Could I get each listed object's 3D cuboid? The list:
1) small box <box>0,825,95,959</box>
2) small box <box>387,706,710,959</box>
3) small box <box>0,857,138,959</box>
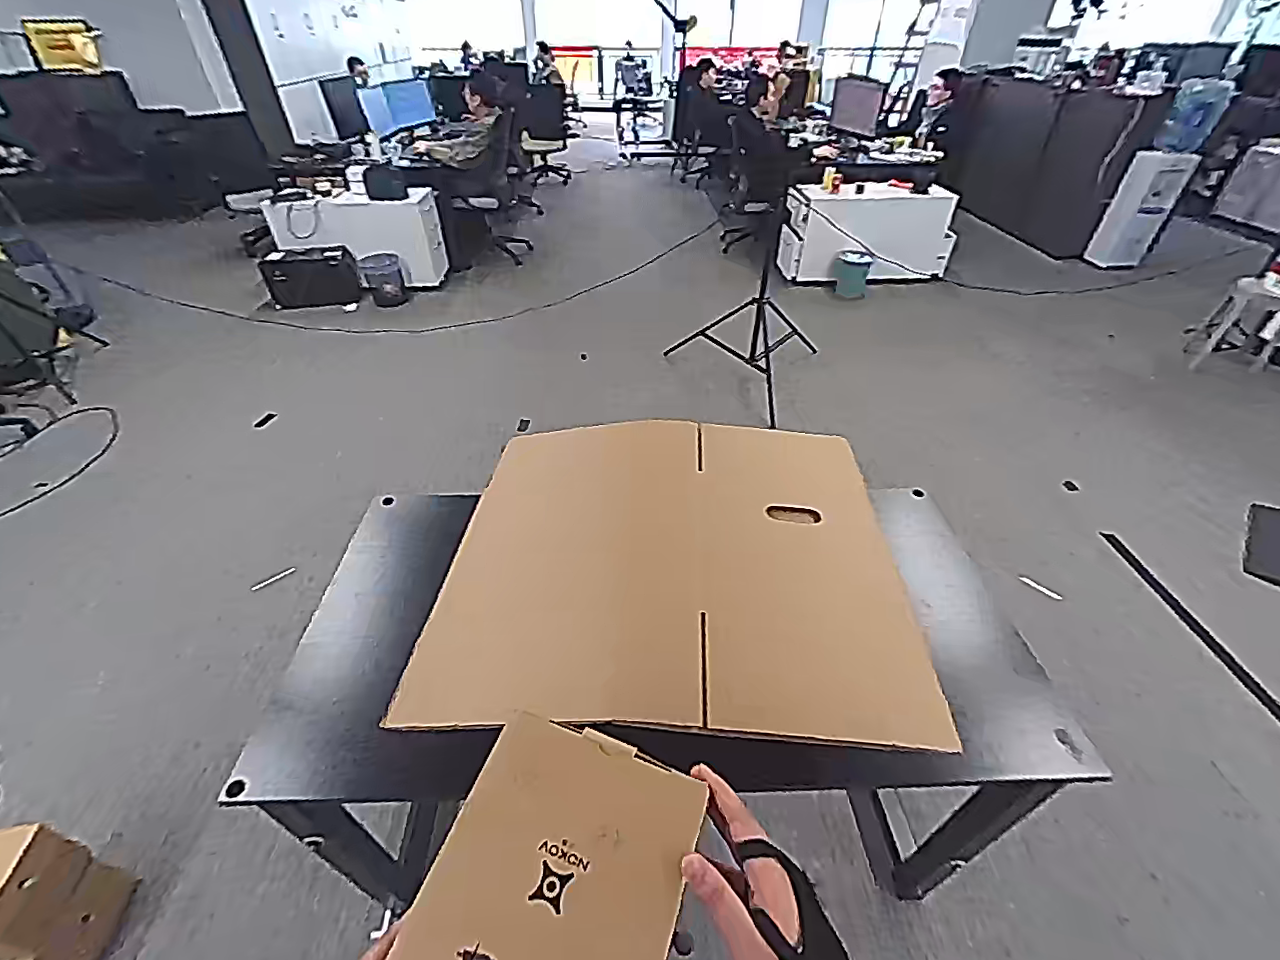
[{"bbox_3d":[-1.223,0.798,1.035,0.168,0.176,0.179,-5,39,-7],"label":"small box"},{"bbox_3d":[-0.053,0.318,0.426,0.168,0.176,0.179,15,49,15],"label":"small box"},{"bbox_3d":[-1.221,0.926,1.135,0.168,0.176,0.179,-4,41,-4],"label":"small box"}]
